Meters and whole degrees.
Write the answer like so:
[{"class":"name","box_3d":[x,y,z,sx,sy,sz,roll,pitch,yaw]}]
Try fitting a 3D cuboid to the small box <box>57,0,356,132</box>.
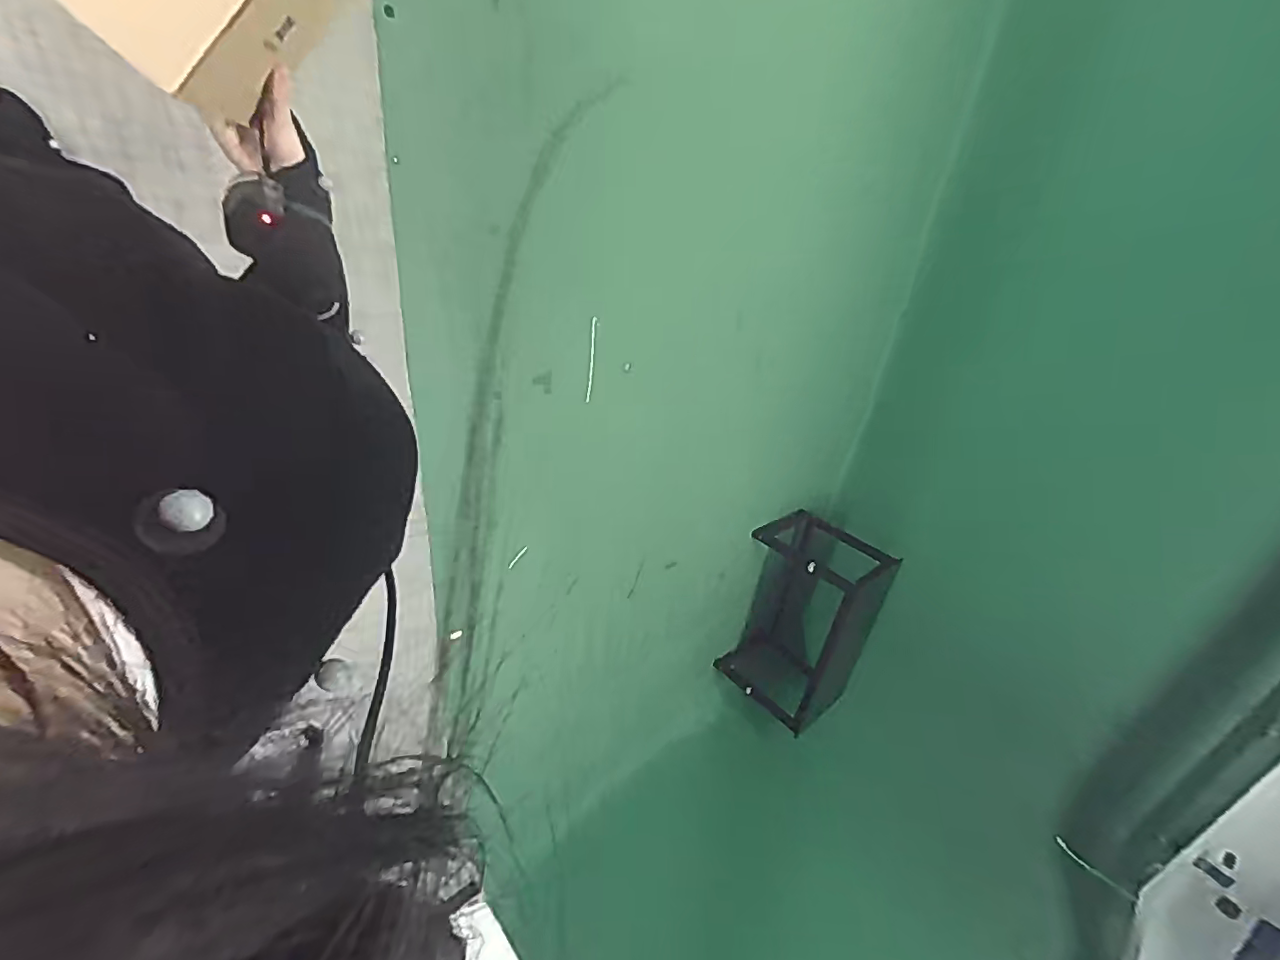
[{"class":"small box","box_3d":[-0.344,-0.404,0.395,0.179,0.168,0.176,-46,121,6]}]
